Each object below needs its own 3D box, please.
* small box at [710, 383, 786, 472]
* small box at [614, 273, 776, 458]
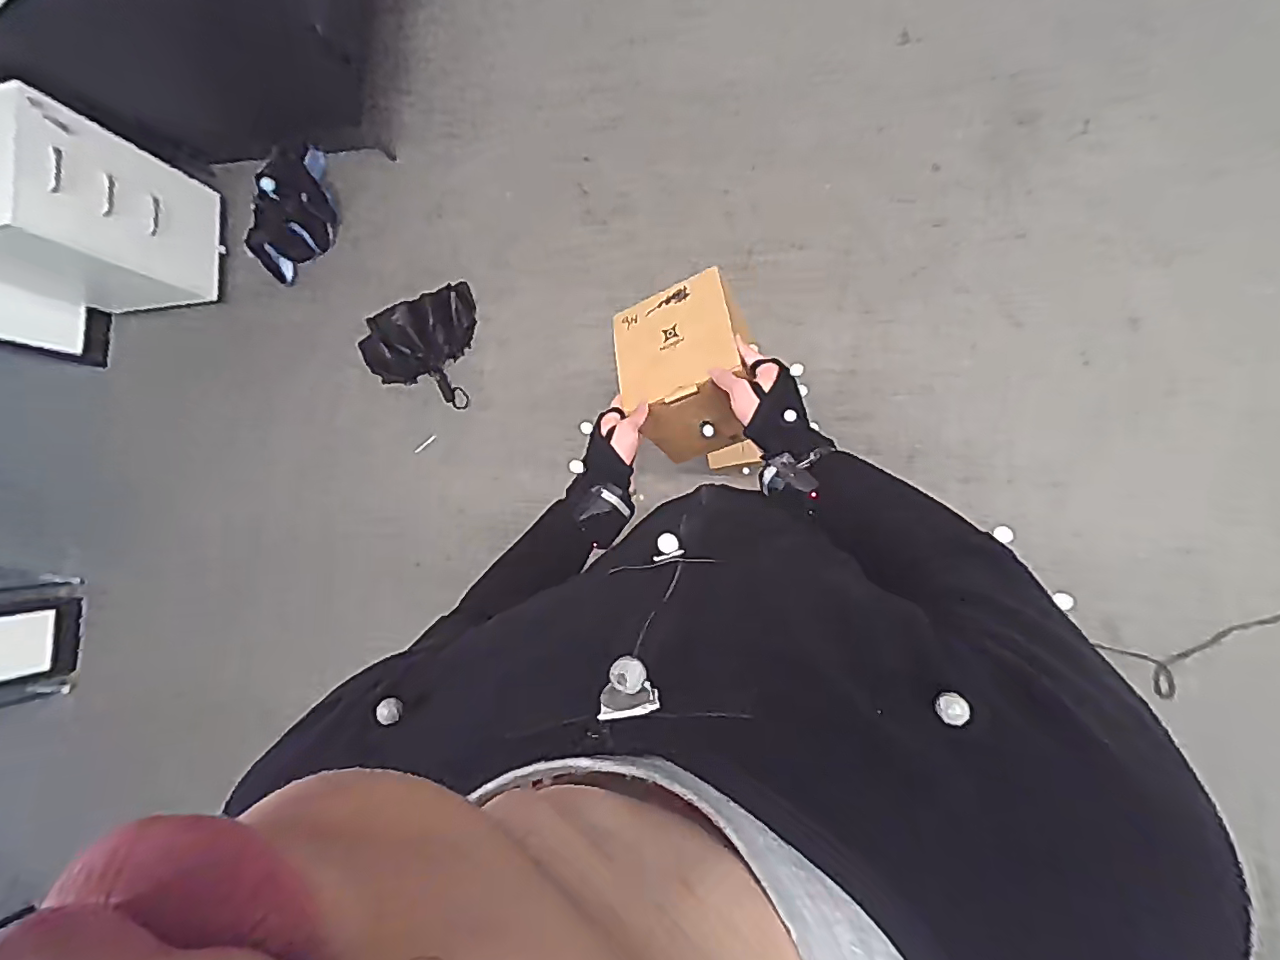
[{"bbox_3d":[0.251,-0.117,1.291,0.168,0.176,0.179,-9,87,14],"label":"small box"},{"bbox_3d":[0.081,-0.147,0.770,0.168,0.176,0.179,-19,60,24],"label":"small box"}]
